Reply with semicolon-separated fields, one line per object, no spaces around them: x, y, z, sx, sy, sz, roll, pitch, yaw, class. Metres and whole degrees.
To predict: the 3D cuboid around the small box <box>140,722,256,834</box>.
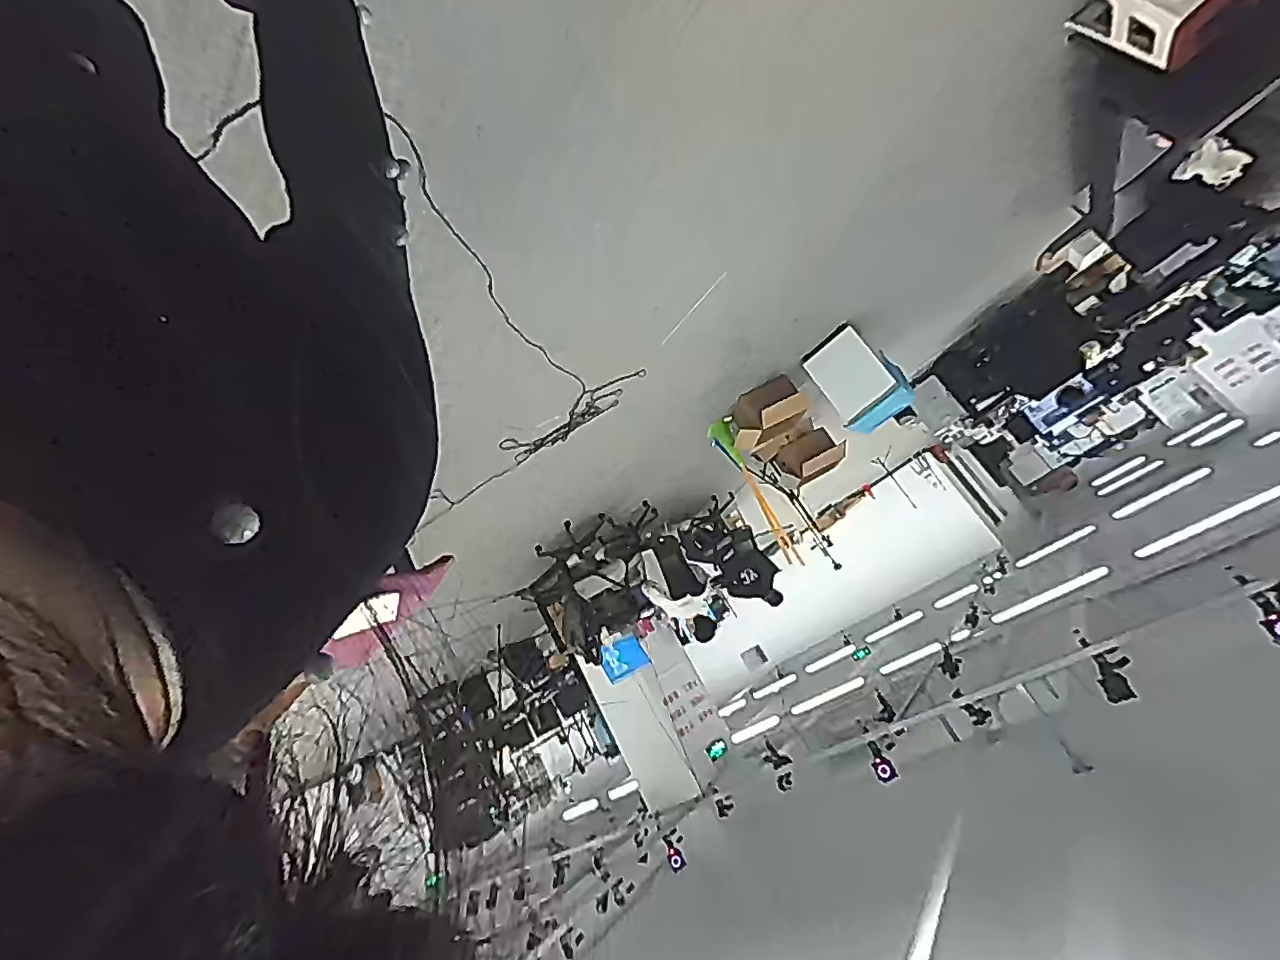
-1.104;0.735;1.349;0.168;0.176;0.179;-40;160;30;small box

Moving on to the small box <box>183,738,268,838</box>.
-1.228;0.893;1.579;0.179;0.176;0.168;-7;149;-52;small box
